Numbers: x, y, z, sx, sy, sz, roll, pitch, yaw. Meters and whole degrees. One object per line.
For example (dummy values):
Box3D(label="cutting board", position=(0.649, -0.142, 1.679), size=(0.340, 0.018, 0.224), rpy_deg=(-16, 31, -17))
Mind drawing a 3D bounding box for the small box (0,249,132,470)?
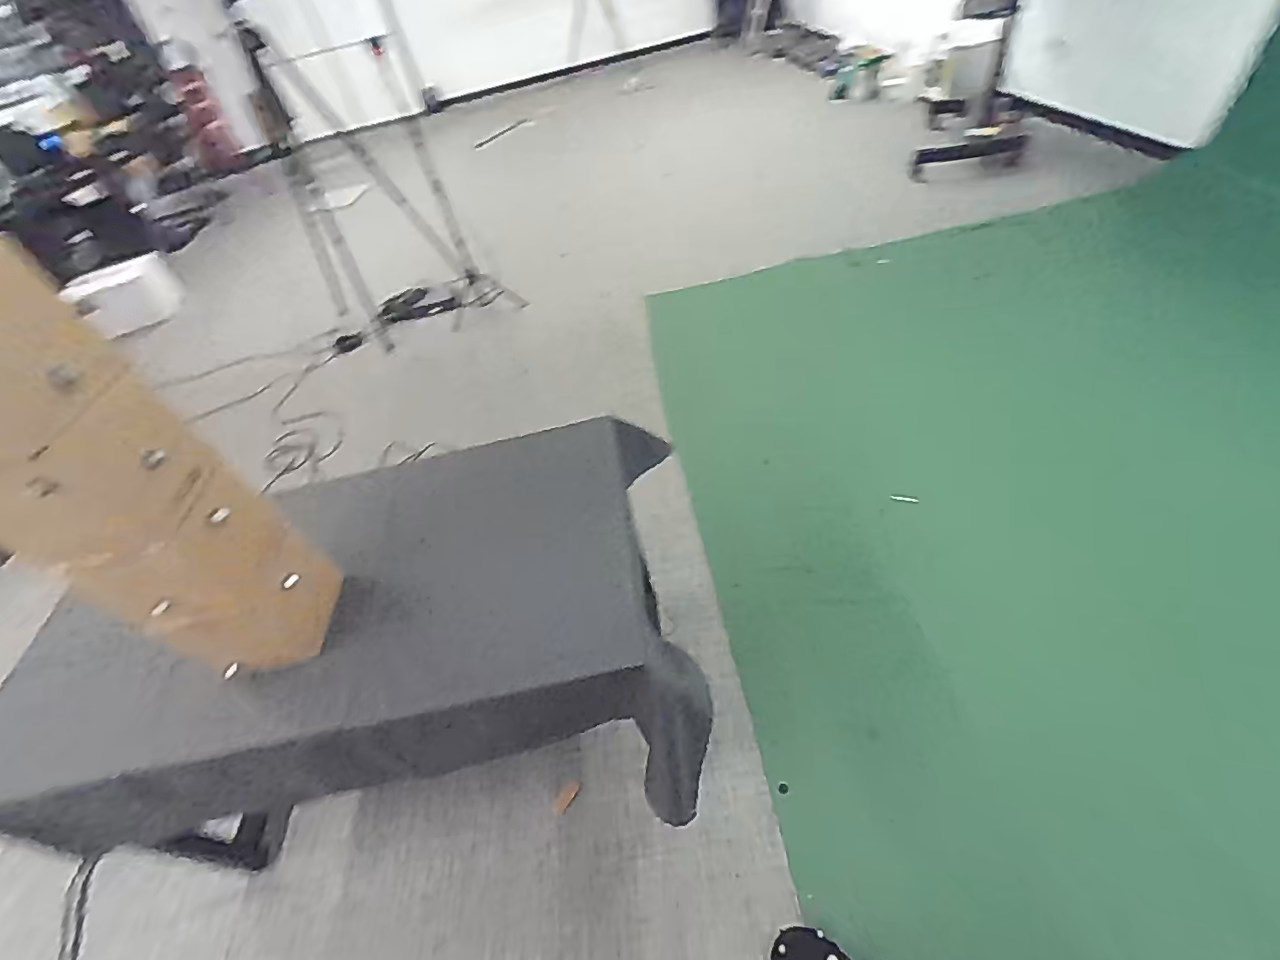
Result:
Box3D(label="small box", position=(-0.729, -0.123, 0.592), size=(0.168, 0.176, 0.179), rpy_deg=(-10, 45, 4))
